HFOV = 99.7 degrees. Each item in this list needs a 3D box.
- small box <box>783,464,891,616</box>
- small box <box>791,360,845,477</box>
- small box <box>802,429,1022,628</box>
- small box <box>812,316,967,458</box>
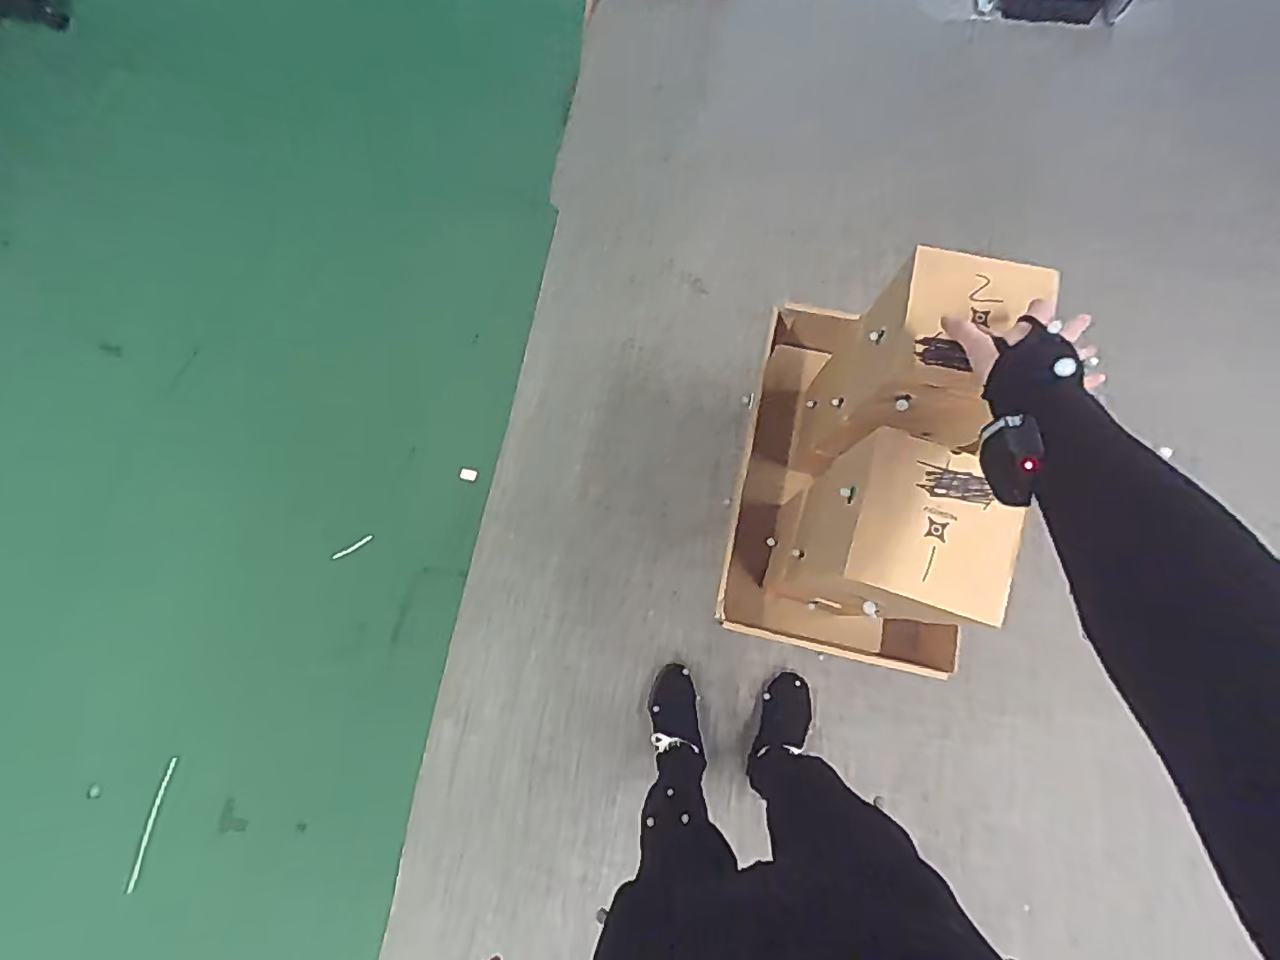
[{"bbox_3d":[0.327,0.099,0.814,0.168,0.176,0.179,18,78,5],"label":"small box"},{"bbox_3d":[0.396,-0.102,1.027,0.168,0.176,0.179,12,80,5],"label":"small box"},{"bbox_3d":[0.312,0.064,0.655,0.168,0.176,0.179,18,79,5],"label":"small box"},{"bbox_3d":[0.389,-0.132,0.868,0.168,0.176,0.179,12,80,4],"label":"small box"}]
